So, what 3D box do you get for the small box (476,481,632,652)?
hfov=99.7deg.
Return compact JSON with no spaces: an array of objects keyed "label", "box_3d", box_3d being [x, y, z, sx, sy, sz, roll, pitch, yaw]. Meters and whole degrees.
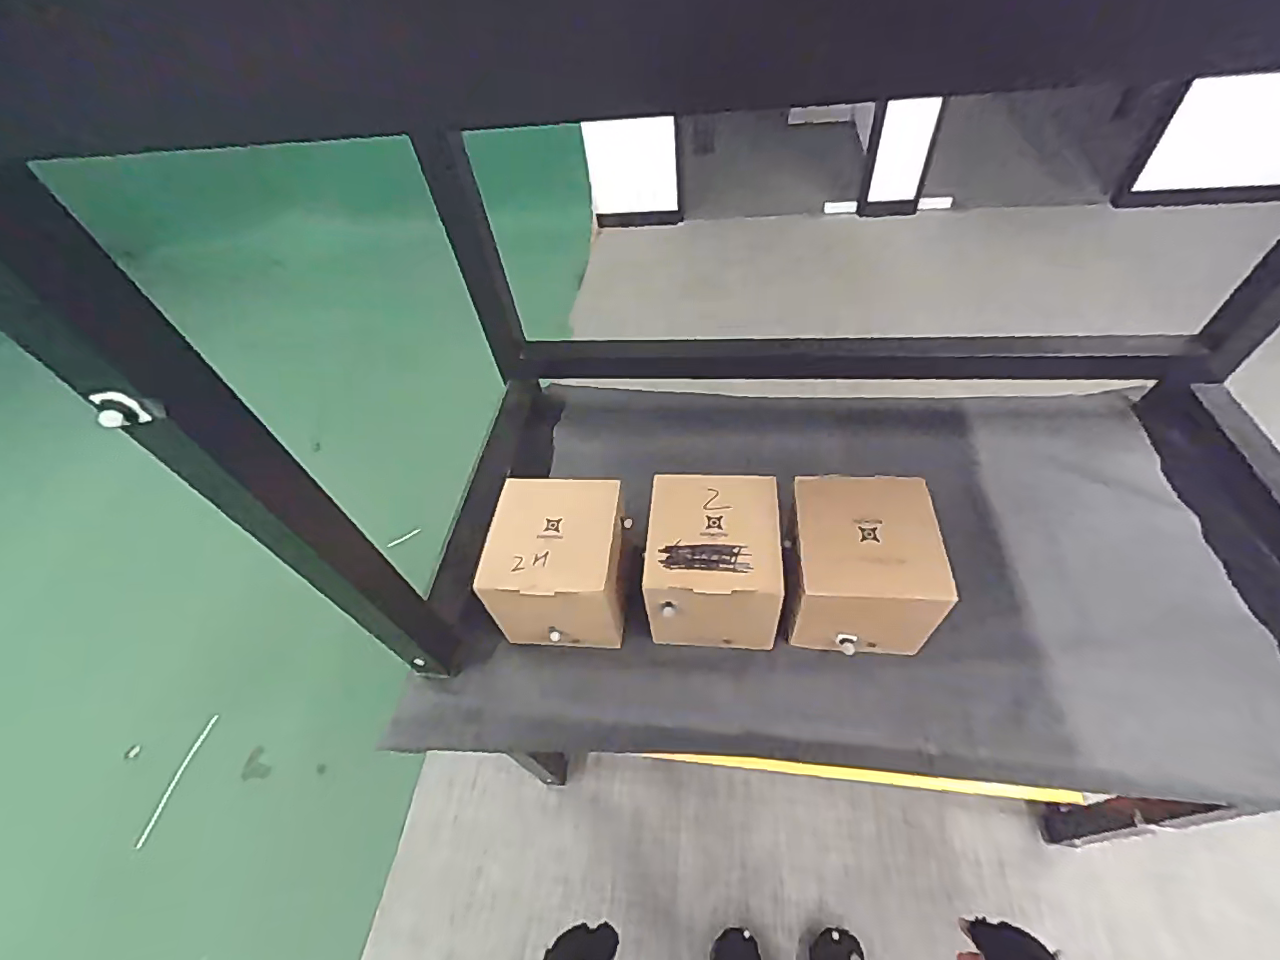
[{"label":"small box","box_3d":[-0.106,0.122,0.760,0.168,0.176,0.179,1,51,8]}]
